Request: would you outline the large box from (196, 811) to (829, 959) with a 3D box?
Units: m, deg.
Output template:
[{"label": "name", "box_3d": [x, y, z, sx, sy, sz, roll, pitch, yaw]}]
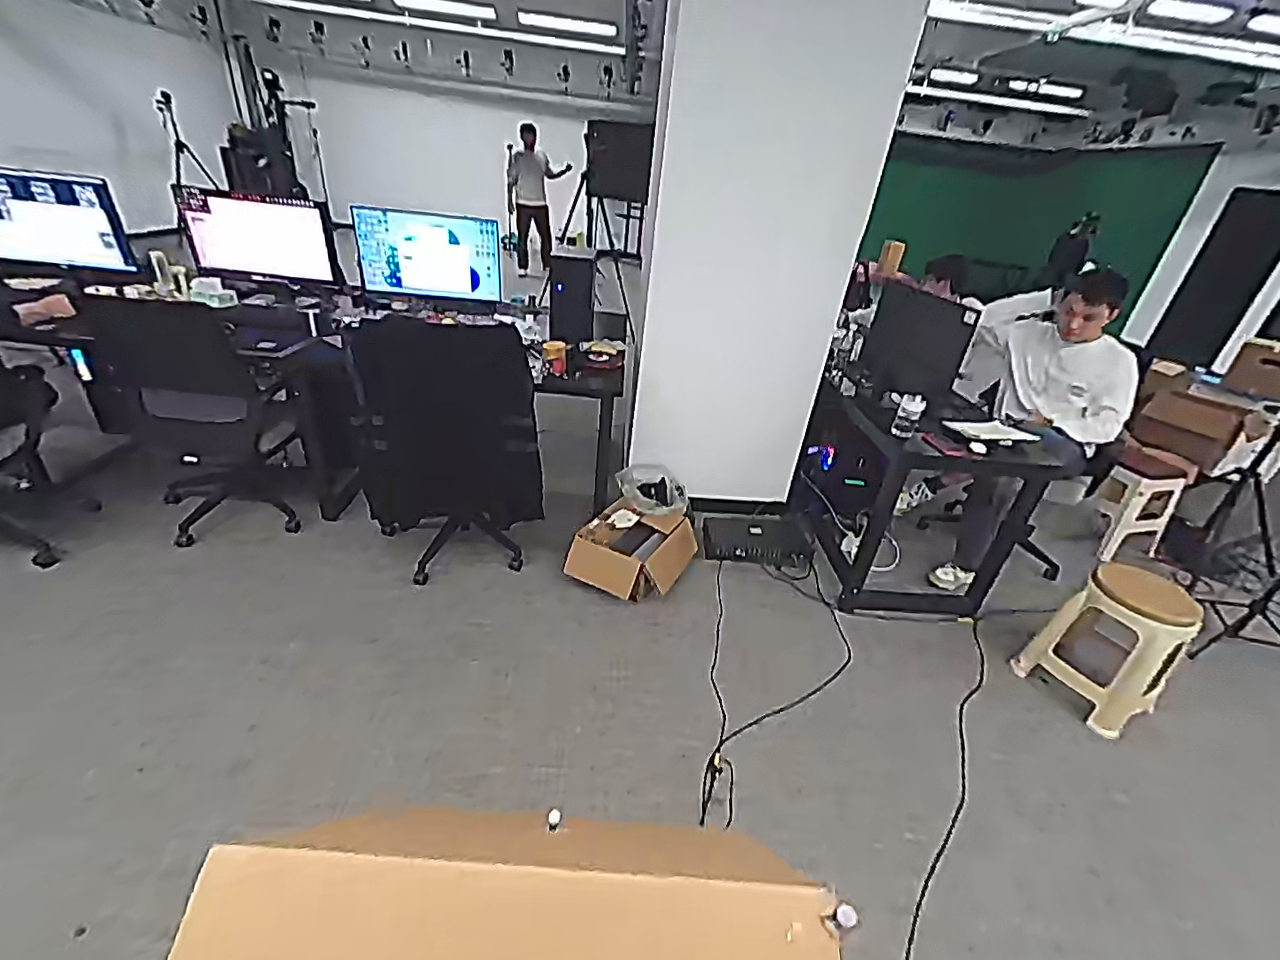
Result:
[{"label": "large box", "box_3d": [-0.089, 0.460, 0.427, 0.408, 0.320, 0.320, 4, 65, 0]}]
